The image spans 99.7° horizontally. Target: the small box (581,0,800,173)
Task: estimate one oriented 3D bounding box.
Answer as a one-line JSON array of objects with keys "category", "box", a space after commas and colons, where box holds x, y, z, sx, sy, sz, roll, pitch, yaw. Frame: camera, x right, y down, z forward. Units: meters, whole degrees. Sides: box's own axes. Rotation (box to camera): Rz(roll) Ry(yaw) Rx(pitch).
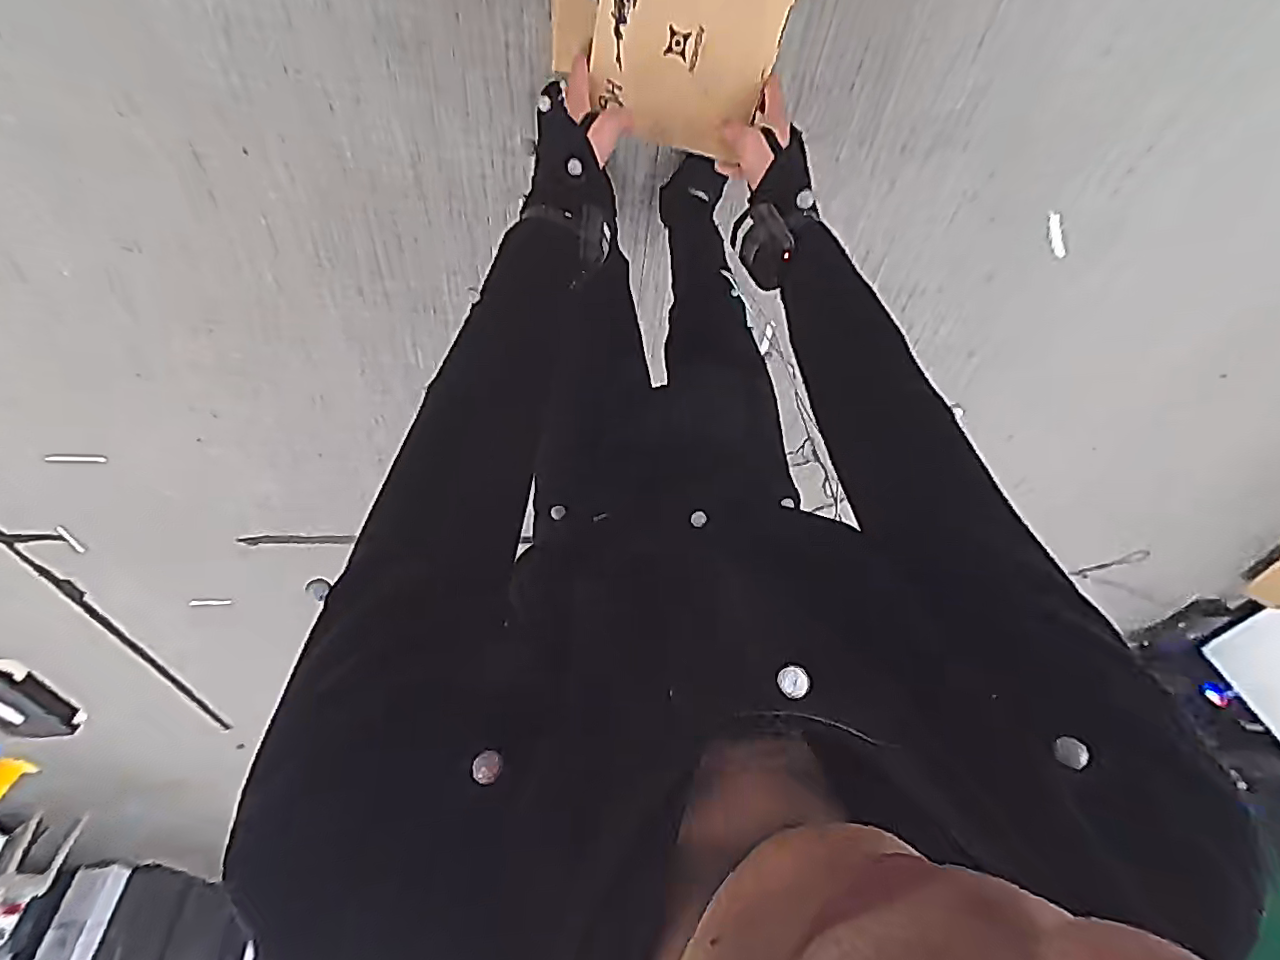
[{"category": "small box", "box": [0.038, -0.454, 0.568, 0.179, 0.176, 0.168, 8, 132, -13]}]
